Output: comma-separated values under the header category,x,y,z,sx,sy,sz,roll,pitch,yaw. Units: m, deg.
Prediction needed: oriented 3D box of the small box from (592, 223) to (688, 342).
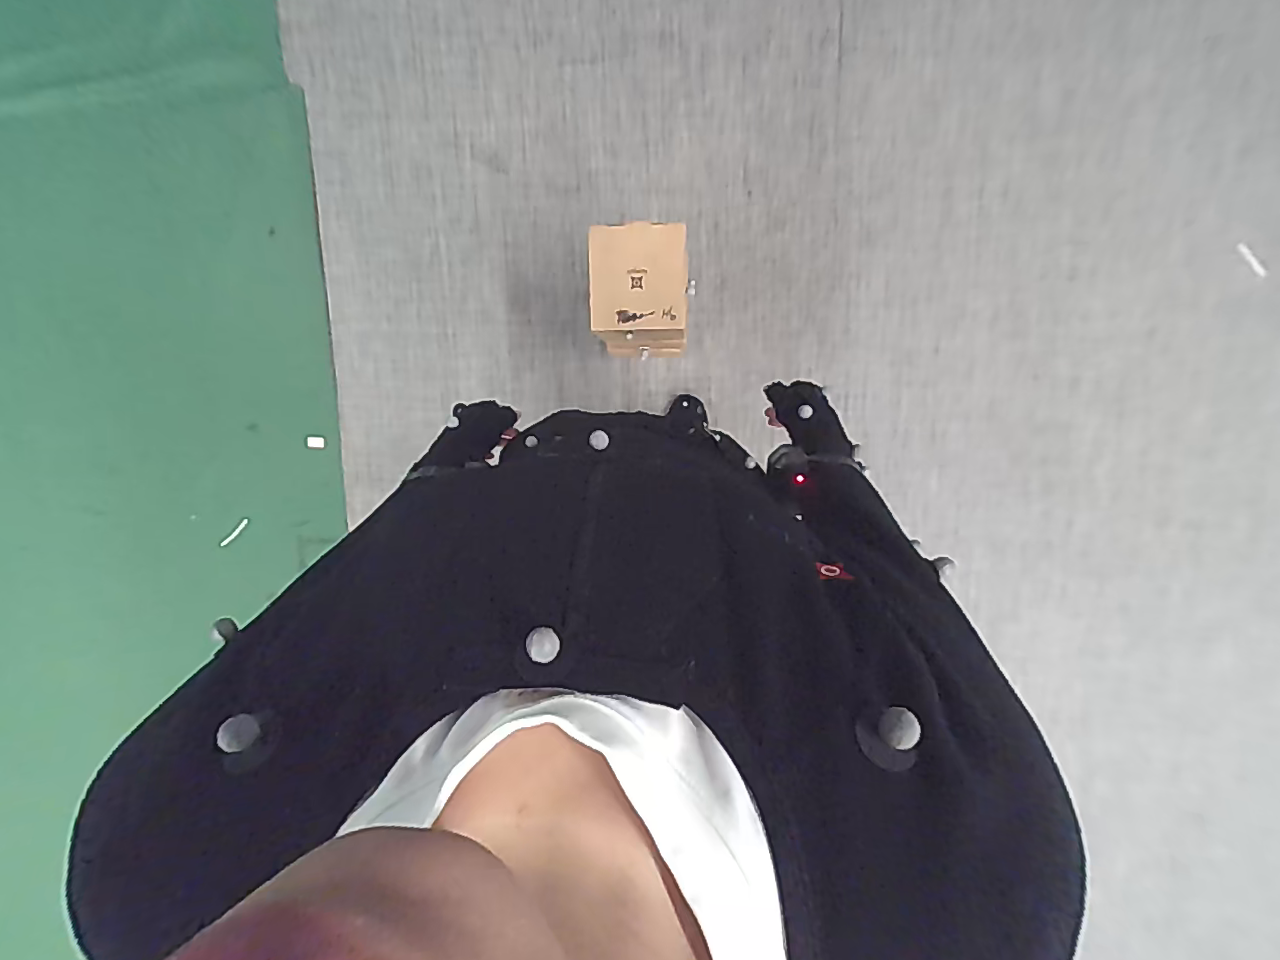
category,x,y,z,sx,sy,sz,roll,pitch,yaw
small box,0.004,-0.356,1.002,0.168,0.176,0.179,0,97,5

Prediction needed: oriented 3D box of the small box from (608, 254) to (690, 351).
category,x,y,z,sx,sy,sz,roll,pitch,yaw
small box,0.023,-0.375,1.165,0.168,0.176,0.179,0,99,5

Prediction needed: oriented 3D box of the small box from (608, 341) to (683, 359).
category,x,y,z,sx,sy,sz,roll,pitch,yaw
small box,0.019,-0.389,1.326,0.179,0.176,0.168,1,98,5
